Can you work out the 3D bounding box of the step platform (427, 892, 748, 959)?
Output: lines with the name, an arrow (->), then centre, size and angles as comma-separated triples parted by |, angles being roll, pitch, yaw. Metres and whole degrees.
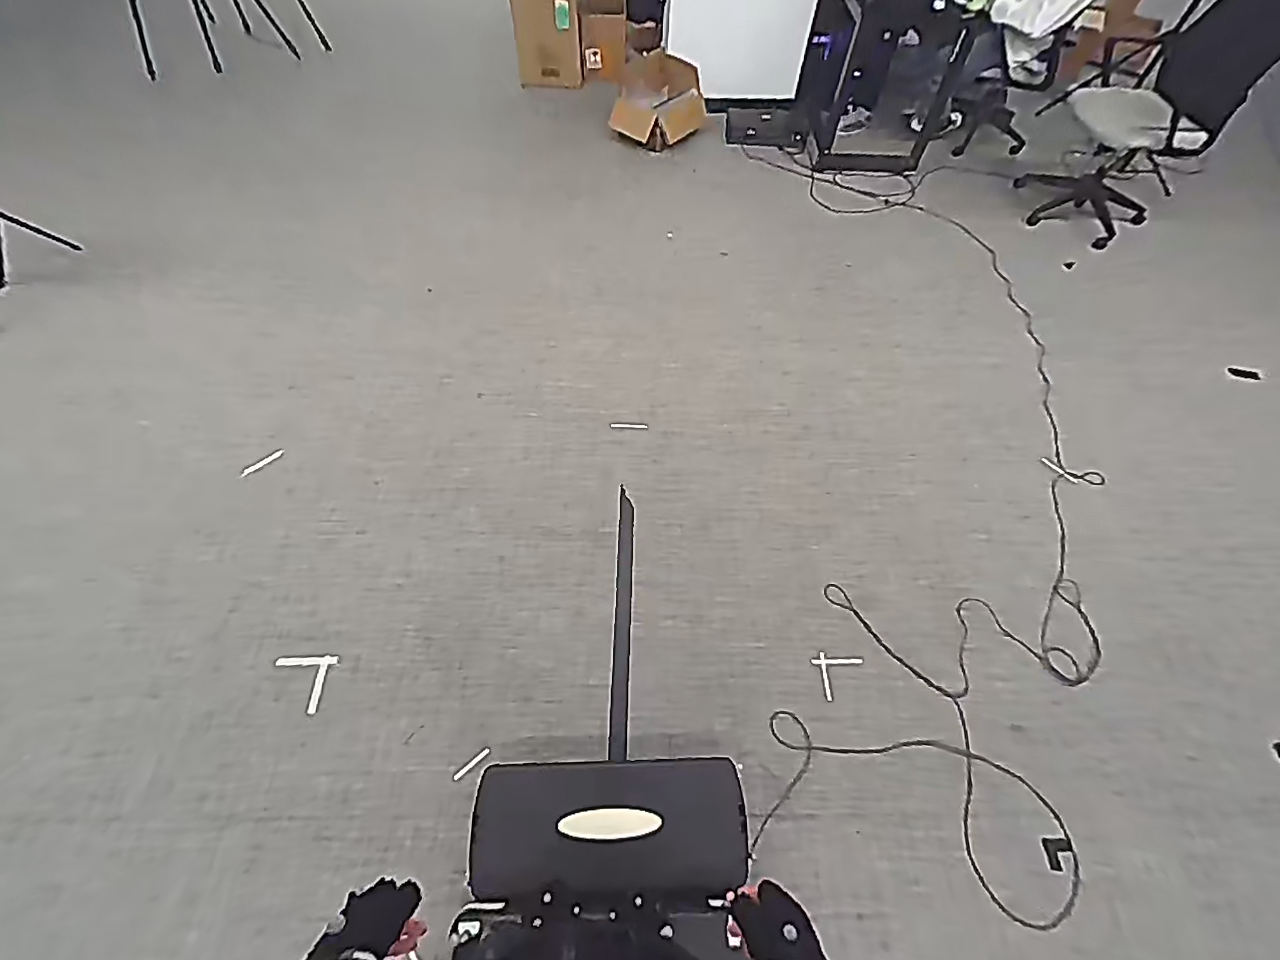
step platform -> -0.108, 1.068, 1.146 | 0.684, 0.204, 0.286 | 0, 57, -1
